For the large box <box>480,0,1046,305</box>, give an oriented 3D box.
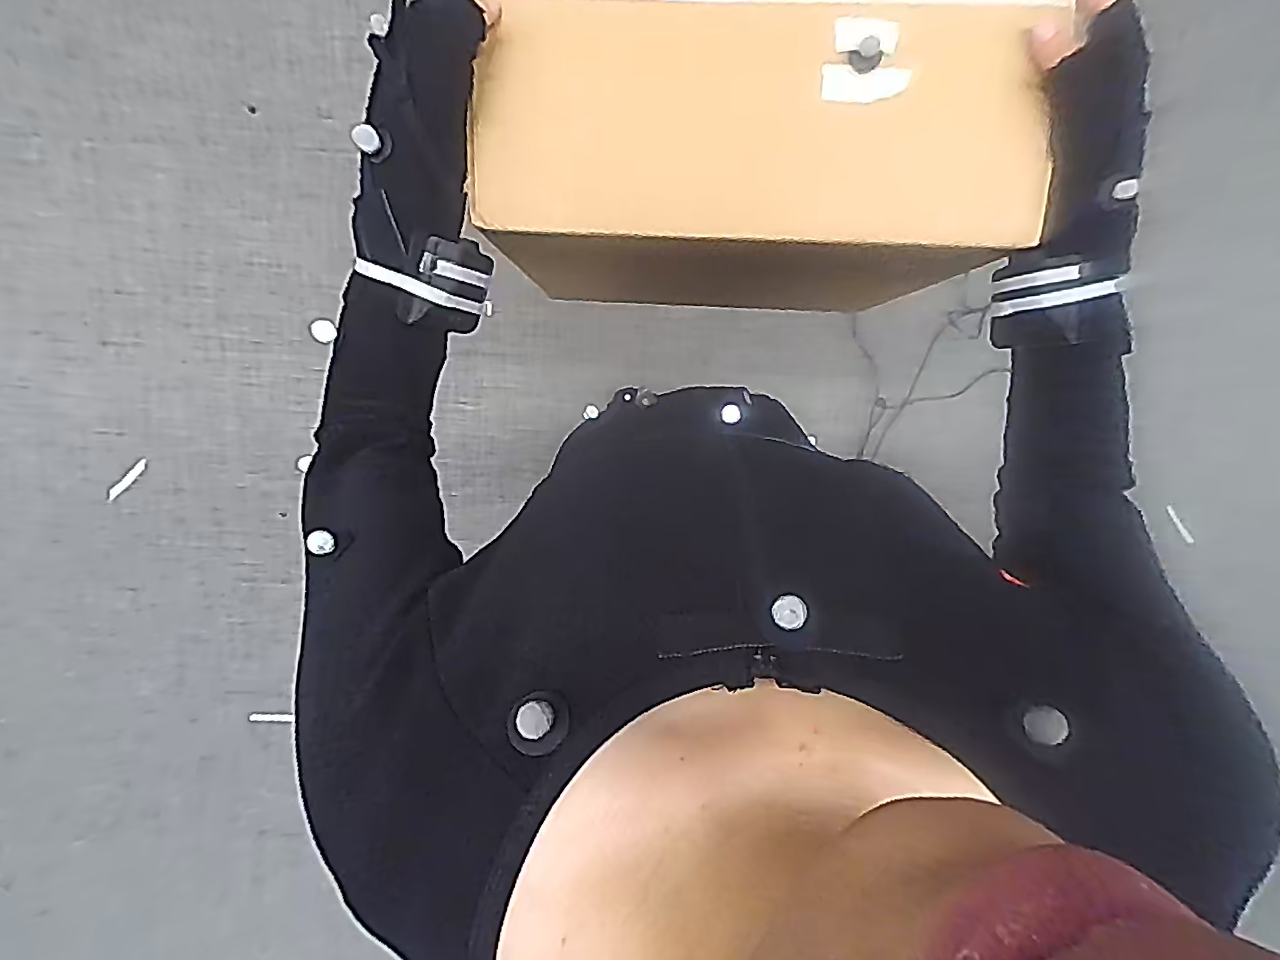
[{"bbox_3d":[0.084,-0.356,0.525,0.408,0.320,0.320,2,99,0],"label":"large box"}]
